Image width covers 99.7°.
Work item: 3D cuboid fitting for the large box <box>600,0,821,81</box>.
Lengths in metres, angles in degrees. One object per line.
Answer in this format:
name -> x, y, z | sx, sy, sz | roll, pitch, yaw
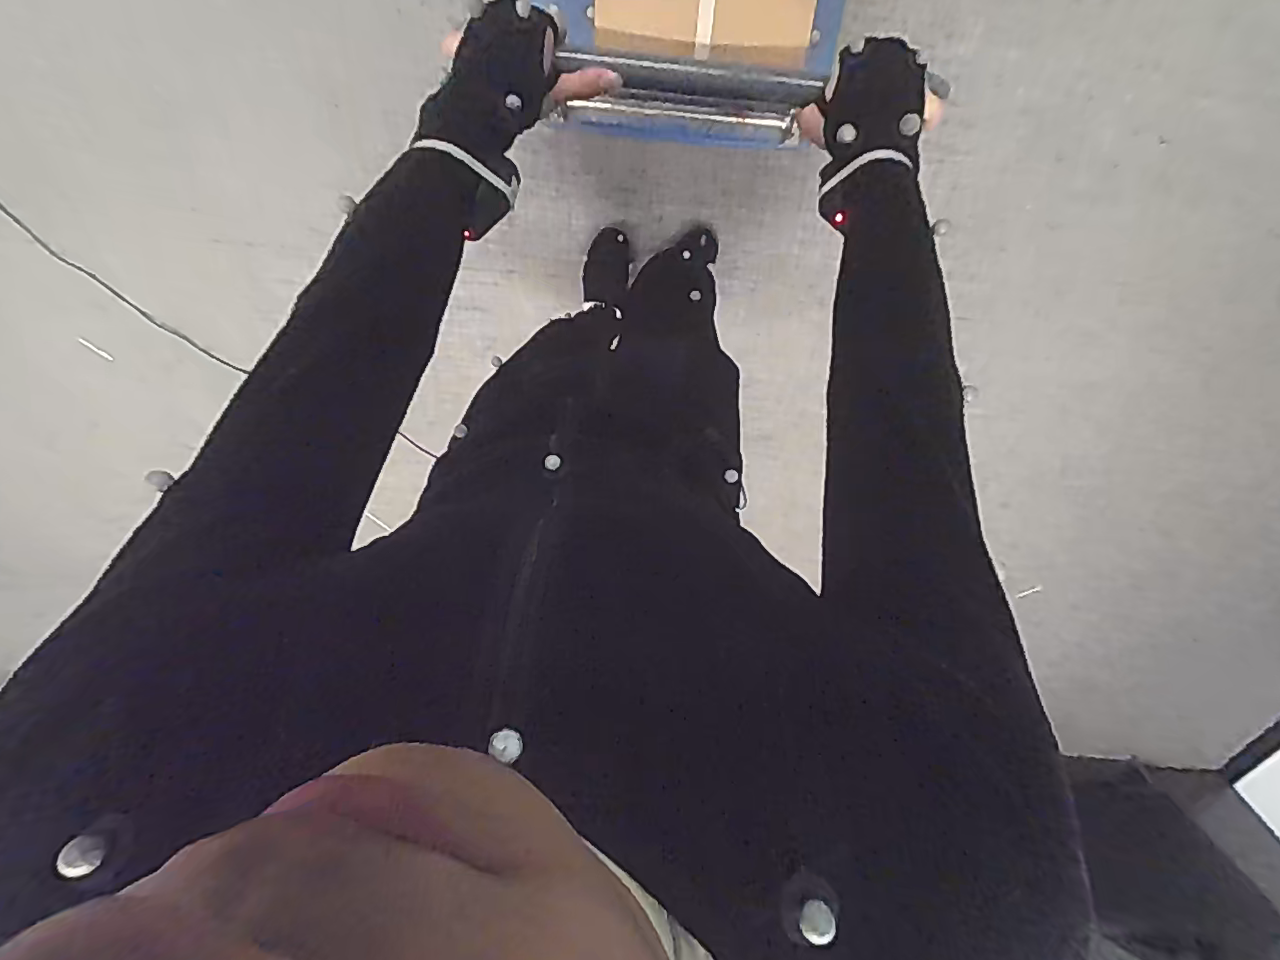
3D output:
large box -> 0.114, -0.867, 0.816 | 0.320, 0.320, 0.408 | 4, 123, -1
